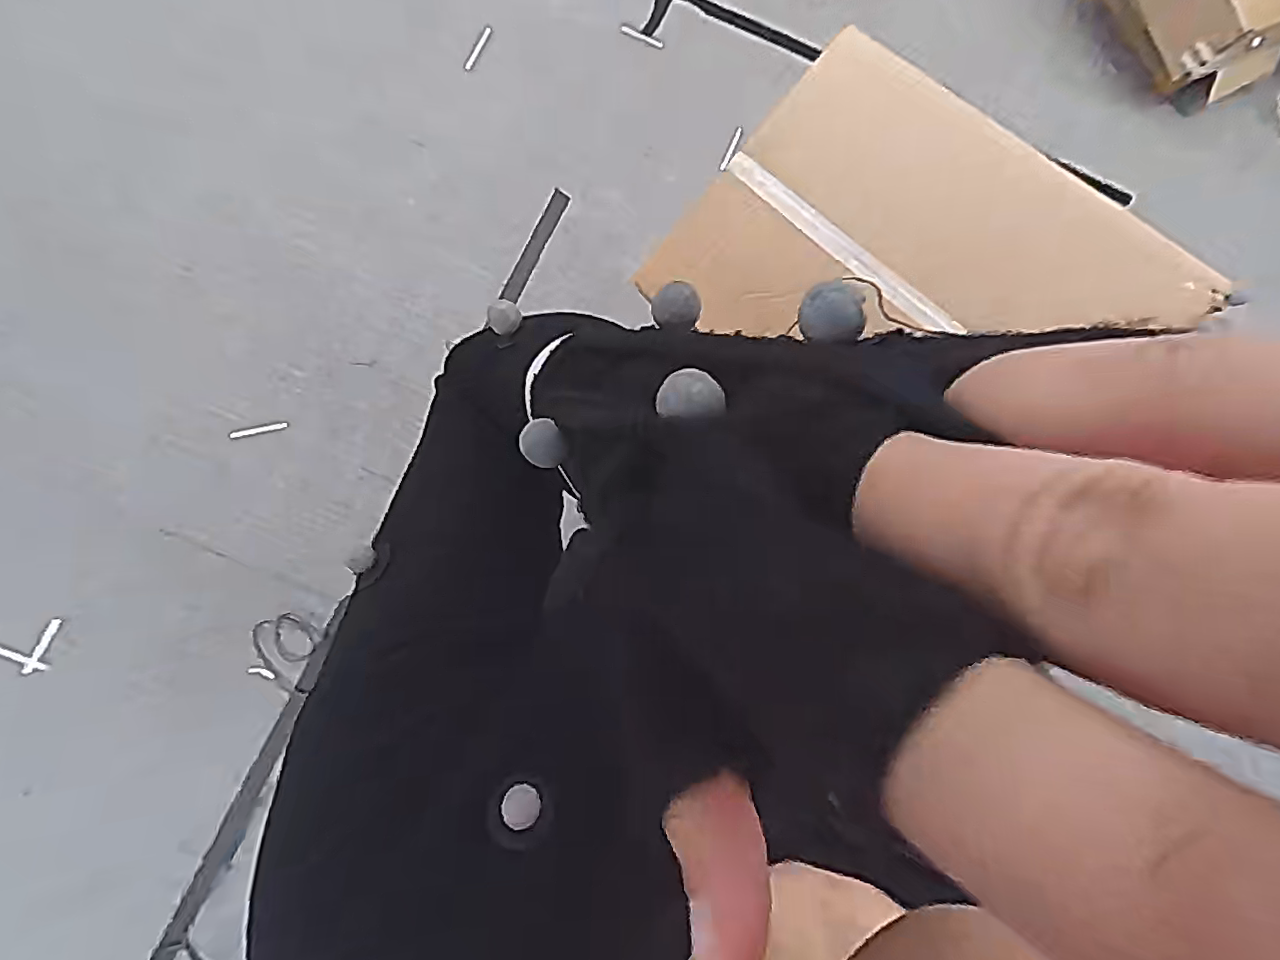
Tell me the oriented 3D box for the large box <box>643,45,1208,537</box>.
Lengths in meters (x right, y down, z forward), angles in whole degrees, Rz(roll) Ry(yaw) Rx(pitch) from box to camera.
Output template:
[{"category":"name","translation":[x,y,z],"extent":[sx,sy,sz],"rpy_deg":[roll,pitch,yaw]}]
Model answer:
[{"category":"large box","translation":[0.278,-0.187,0.661],"extent":[0.320,0.320,0.408],"rpy_deg":[-46,77,13]}]
